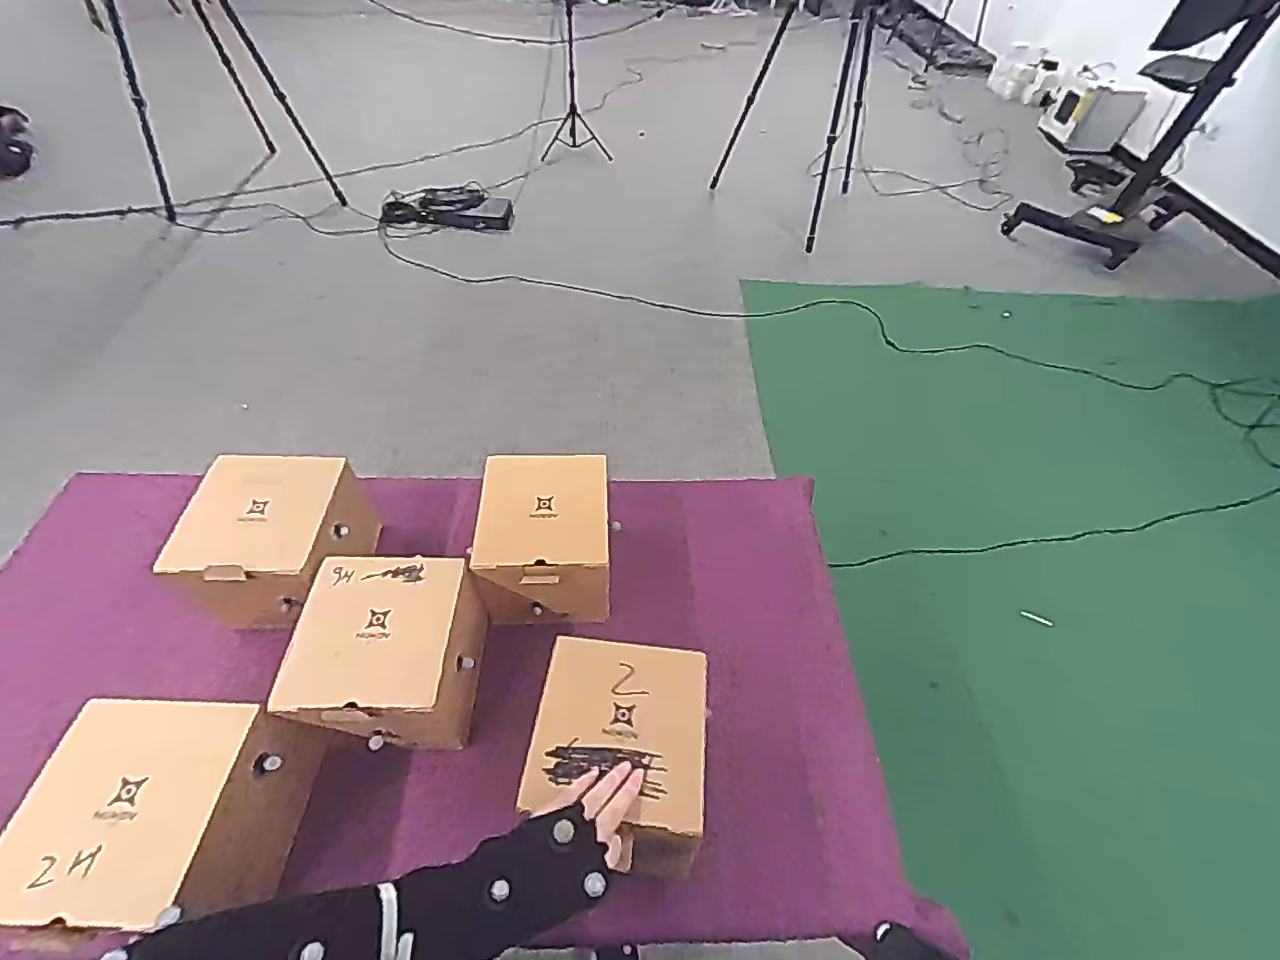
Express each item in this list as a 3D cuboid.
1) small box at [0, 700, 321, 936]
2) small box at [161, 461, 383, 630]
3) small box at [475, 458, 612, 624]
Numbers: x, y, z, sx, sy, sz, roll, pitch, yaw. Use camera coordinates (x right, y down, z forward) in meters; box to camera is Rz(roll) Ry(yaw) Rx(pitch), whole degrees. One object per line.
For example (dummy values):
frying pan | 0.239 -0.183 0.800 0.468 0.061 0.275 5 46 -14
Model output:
small box | -0.456 0.338 0.541 0.168 0.176 0.179 2 52 -1
small box | -0.474 0.093 0.736 0.168 0.176 0.179 2 52 -4
small box | -0.125 0.087 0.761 0.168 0.176 0.179 -1 53 -4
